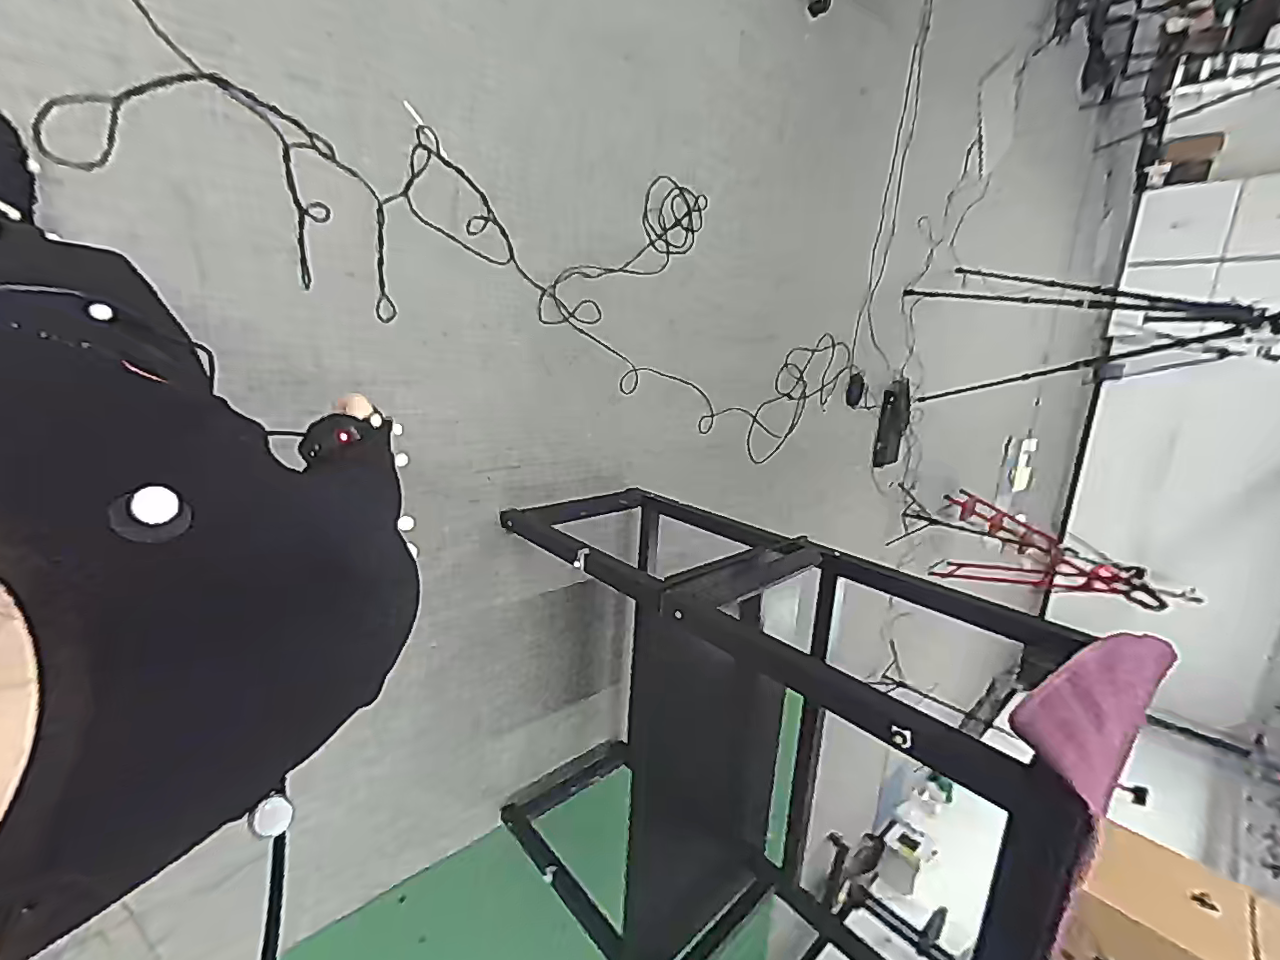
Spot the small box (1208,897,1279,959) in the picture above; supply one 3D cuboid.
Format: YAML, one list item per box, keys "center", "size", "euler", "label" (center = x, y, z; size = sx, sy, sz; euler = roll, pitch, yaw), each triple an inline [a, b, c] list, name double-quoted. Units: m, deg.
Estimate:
- center: [0.739, 0.646, 0.622]
  size: [0.179, 0.176, 0.168]
  euler: [-7, 107, -43]
  label: "small box"
